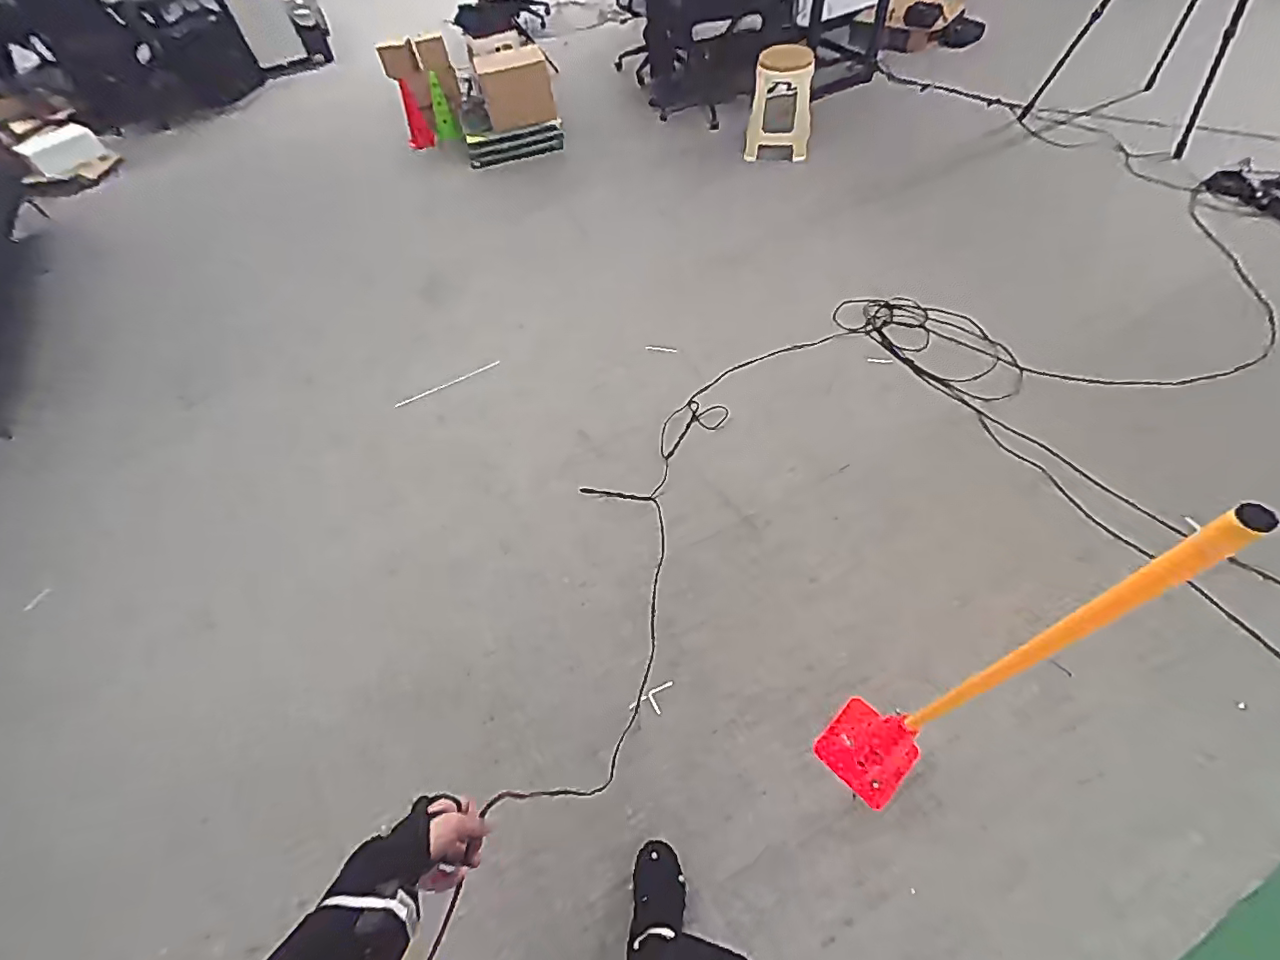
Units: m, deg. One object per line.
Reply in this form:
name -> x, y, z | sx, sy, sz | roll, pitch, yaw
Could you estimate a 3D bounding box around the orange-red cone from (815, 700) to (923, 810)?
orange-red cone -> 0.562, 0.593, 1.231 | 0.199, 0.360, 0.198 | -38, 61, -20
